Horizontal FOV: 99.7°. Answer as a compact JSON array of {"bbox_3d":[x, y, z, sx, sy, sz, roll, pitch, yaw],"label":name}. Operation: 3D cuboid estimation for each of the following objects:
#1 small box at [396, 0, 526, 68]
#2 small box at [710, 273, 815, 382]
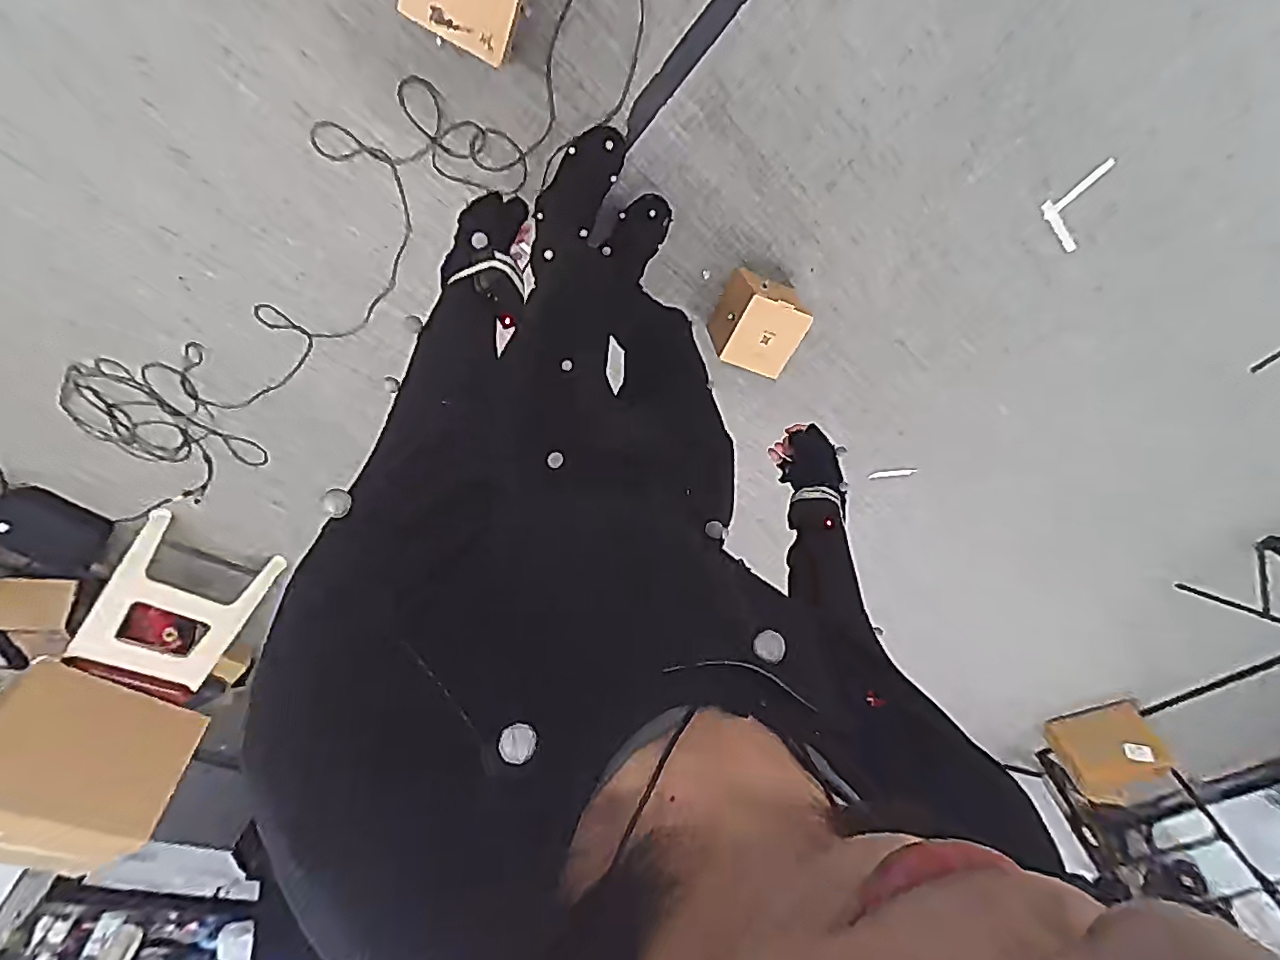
[{"bbox_3d":[-0.273,-0.811,0.873,0.168,0.176,0.179,18,124,-21],"label":"small box"},{"bbox_3d":[0.285,-0.374,1.313,0.168,0.176,0.179,15,127,-18],"label":"small box"}]
